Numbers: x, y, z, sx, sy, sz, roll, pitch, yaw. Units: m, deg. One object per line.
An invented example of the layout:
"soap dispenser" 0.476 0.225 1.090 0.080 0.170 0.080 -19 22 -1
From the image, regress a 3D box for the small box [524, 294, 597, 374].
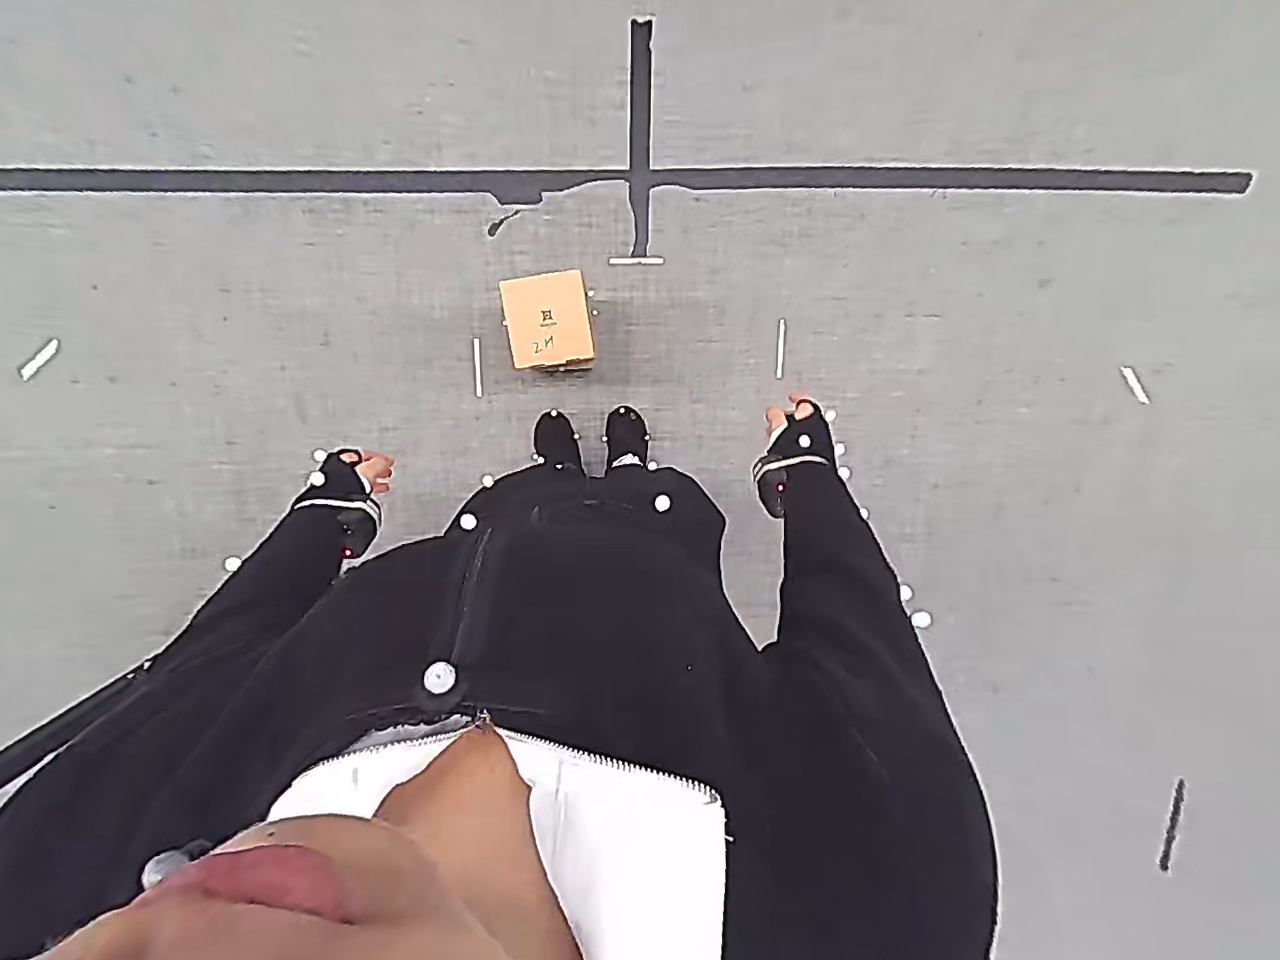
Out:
"small box" -0.196 -0.354 1.327 0.168 0.176 0.179 -4 103 -1

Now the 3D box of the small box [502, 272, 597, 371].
"small box" -0.187 -0.333 1.163 0.168 0.176 0.179 -8 102 1
